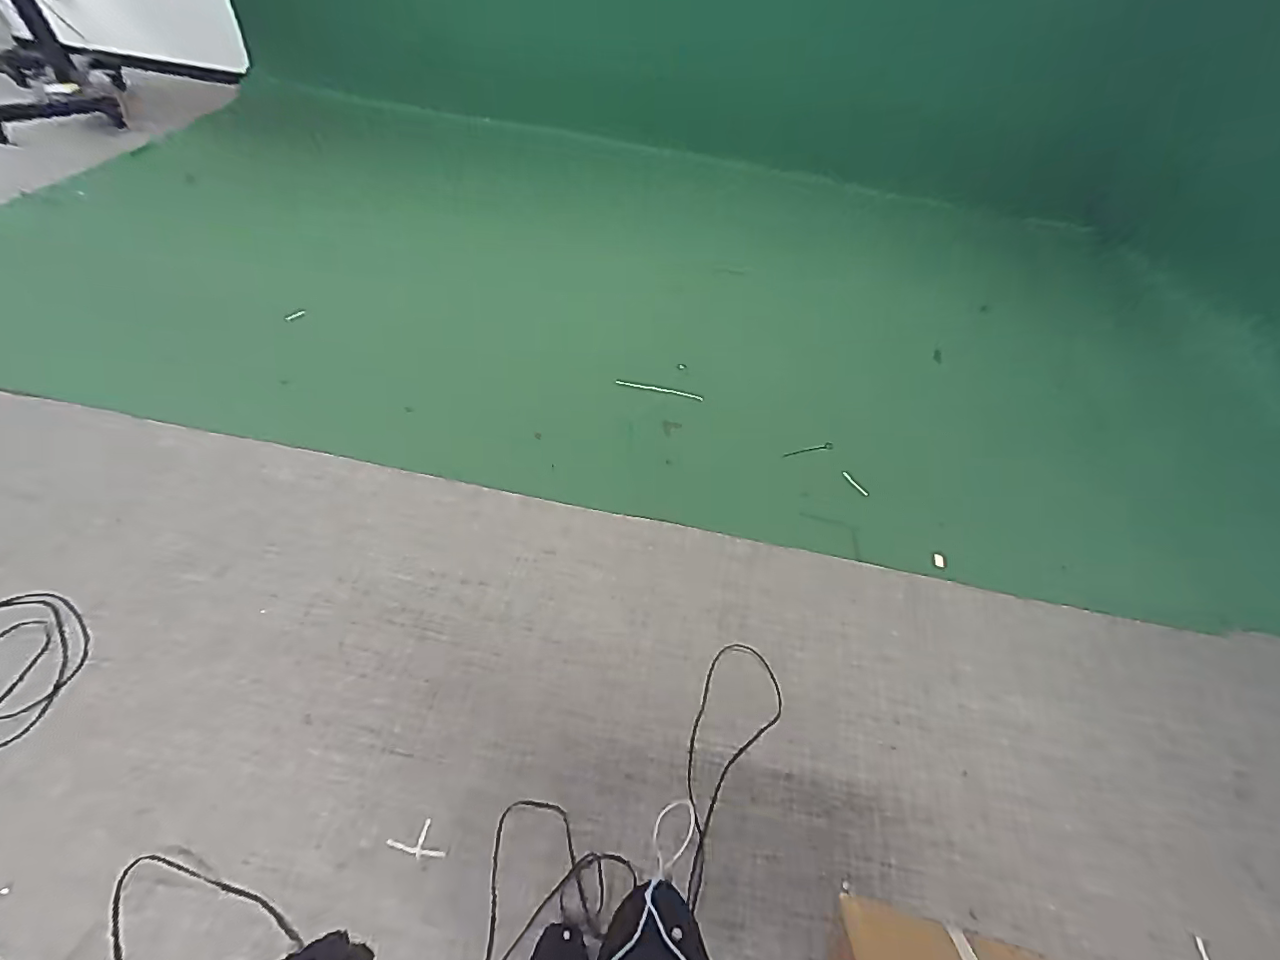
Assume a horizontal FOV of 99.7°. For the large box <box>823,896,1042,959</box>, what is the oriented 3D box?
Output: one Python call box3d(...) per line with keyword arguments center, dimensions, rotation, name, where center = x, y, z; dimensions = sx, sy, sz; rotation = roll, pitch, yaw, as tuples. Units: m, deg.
box3d(center=(0.376, 0.790, 0.586), dimensions=(0.320, 0.408, 0.320), rotation=(13, 90, 10), name="large box")
